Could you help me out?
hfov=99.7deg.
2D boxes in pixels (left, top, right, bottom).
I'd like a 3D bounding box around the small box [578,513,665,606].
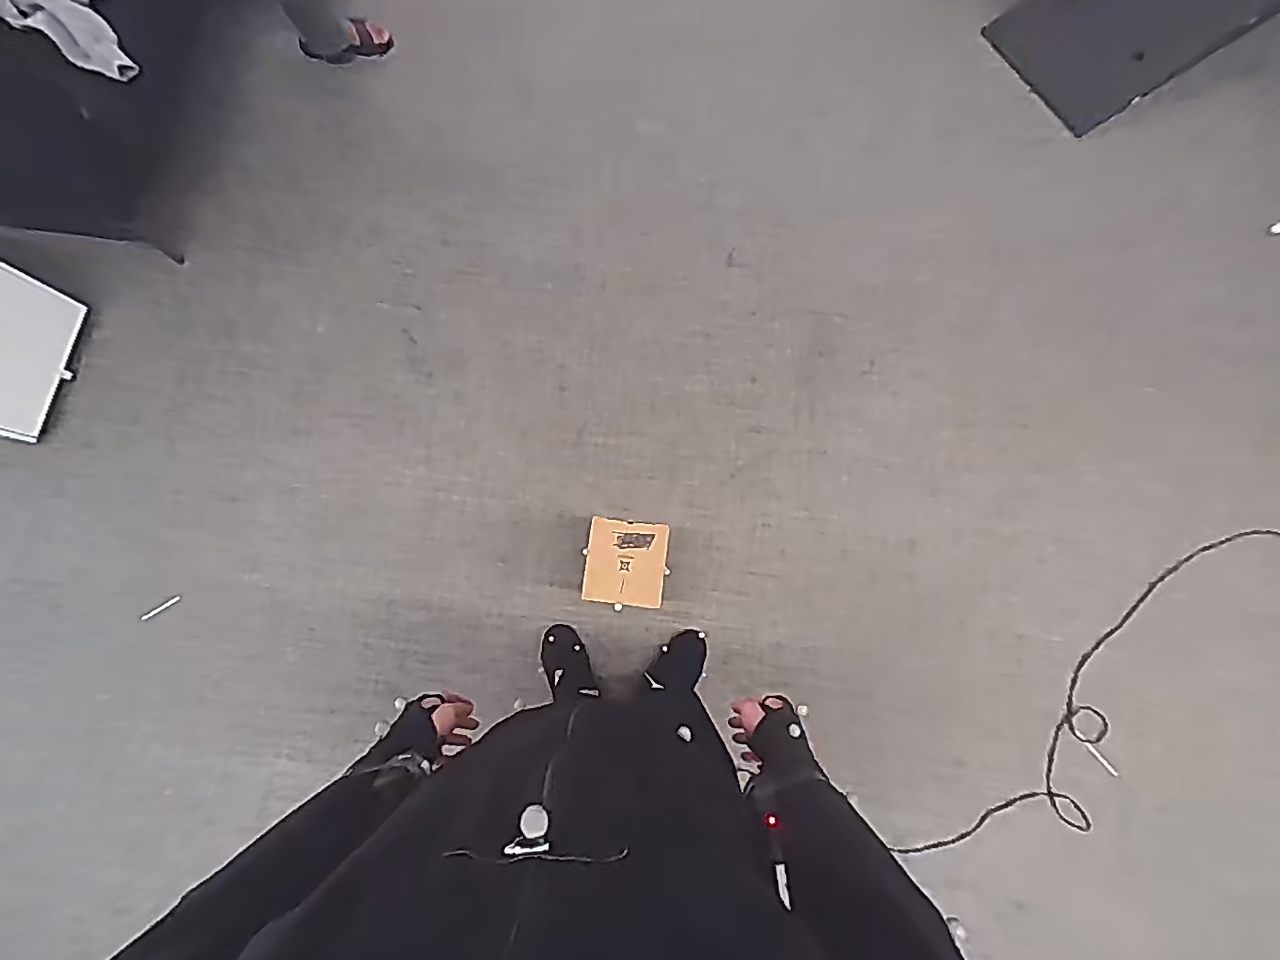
[{"bbox_3d":[-0.040,0.180,1.201,0.168,0.176,0.179,7,79,0],"label":"small box"}]
